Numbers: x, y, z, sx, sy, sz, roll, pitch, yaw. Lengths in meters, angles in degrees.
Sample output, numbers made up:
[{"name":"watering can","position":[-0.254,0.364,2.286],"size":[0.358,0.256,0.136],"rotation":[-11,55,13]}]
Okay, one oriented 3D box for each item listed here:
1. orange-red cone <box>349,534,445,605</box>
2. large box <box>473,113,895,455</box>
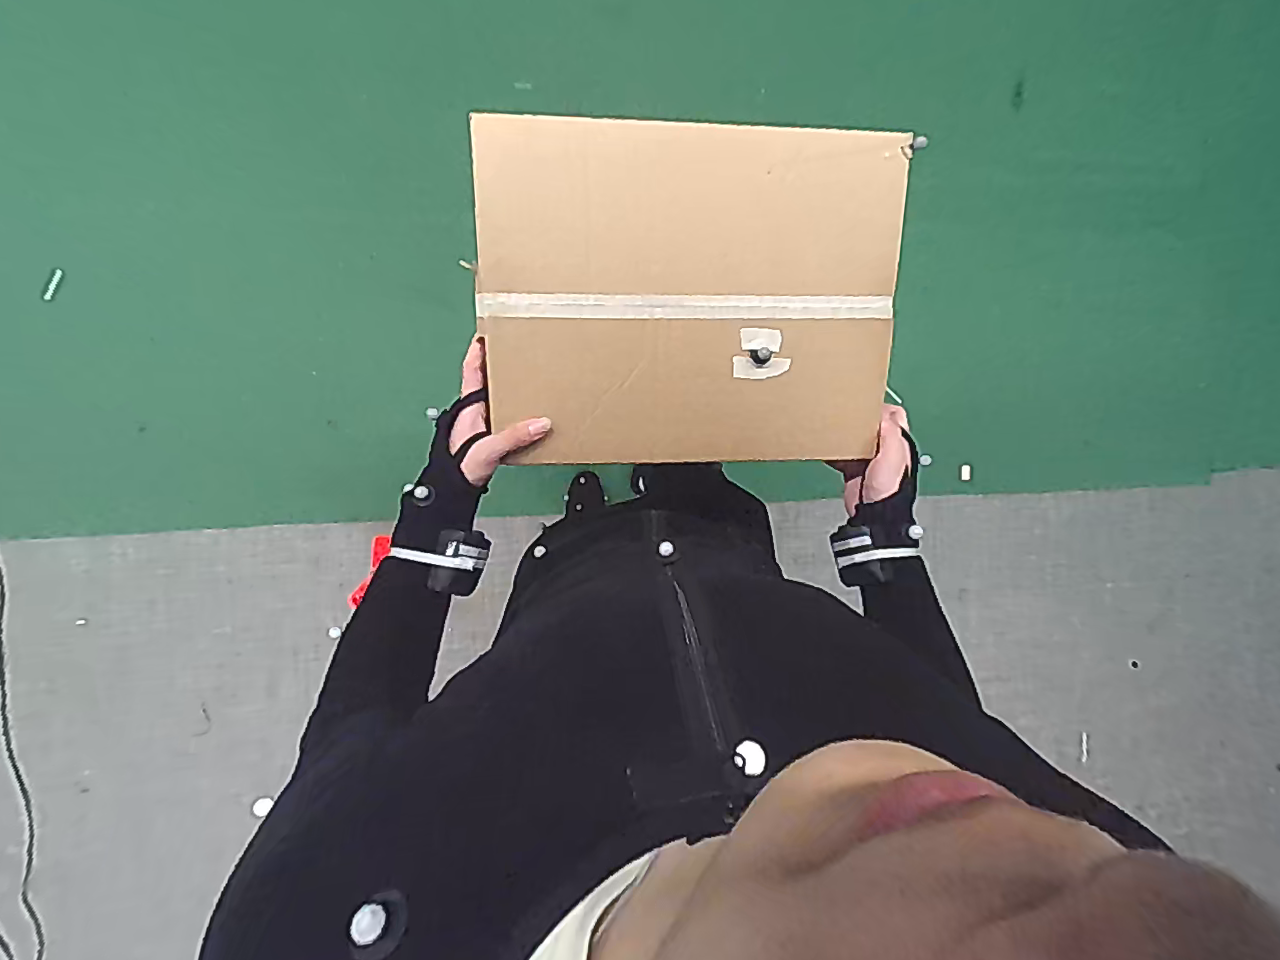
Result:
[{"name":"orange-red cone","position":[-0.657,0.263,1.394],"size":[0.199,0.360,0.198],"rotation":[5,90,-5]},{"name":"large box","position":[0.033,-0.219,0.676],"size":[0.408,0.320,0.320],"rotation":[-2,105,-6]}]
